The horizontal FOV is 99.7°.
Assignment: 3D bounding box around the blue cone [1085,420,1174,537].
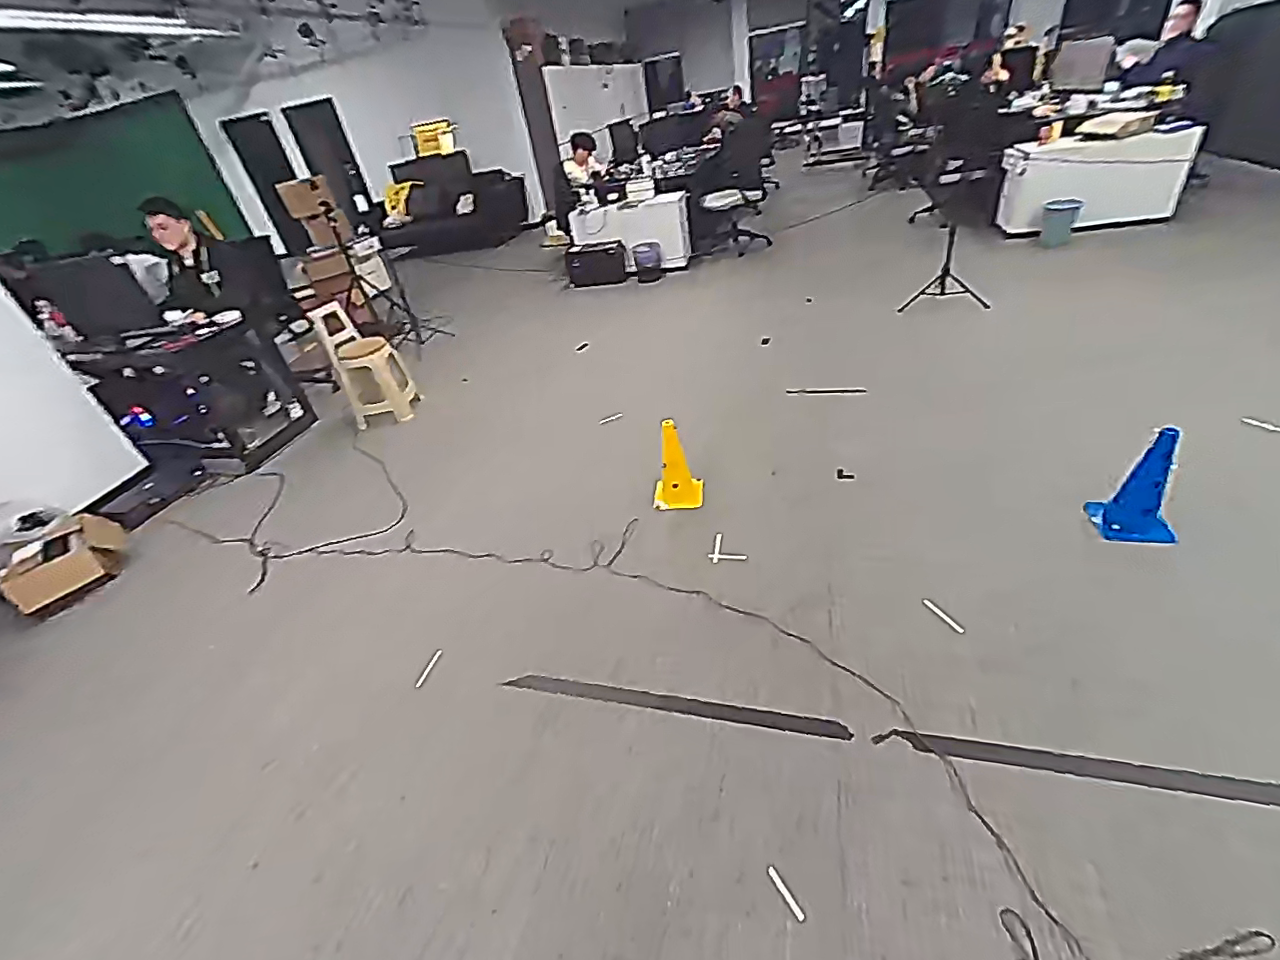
[{"bbox_3d":[1.587,-0.012,1.697,0.193,0.380,0.192,1,36,17],"label":"blue cone"}]
